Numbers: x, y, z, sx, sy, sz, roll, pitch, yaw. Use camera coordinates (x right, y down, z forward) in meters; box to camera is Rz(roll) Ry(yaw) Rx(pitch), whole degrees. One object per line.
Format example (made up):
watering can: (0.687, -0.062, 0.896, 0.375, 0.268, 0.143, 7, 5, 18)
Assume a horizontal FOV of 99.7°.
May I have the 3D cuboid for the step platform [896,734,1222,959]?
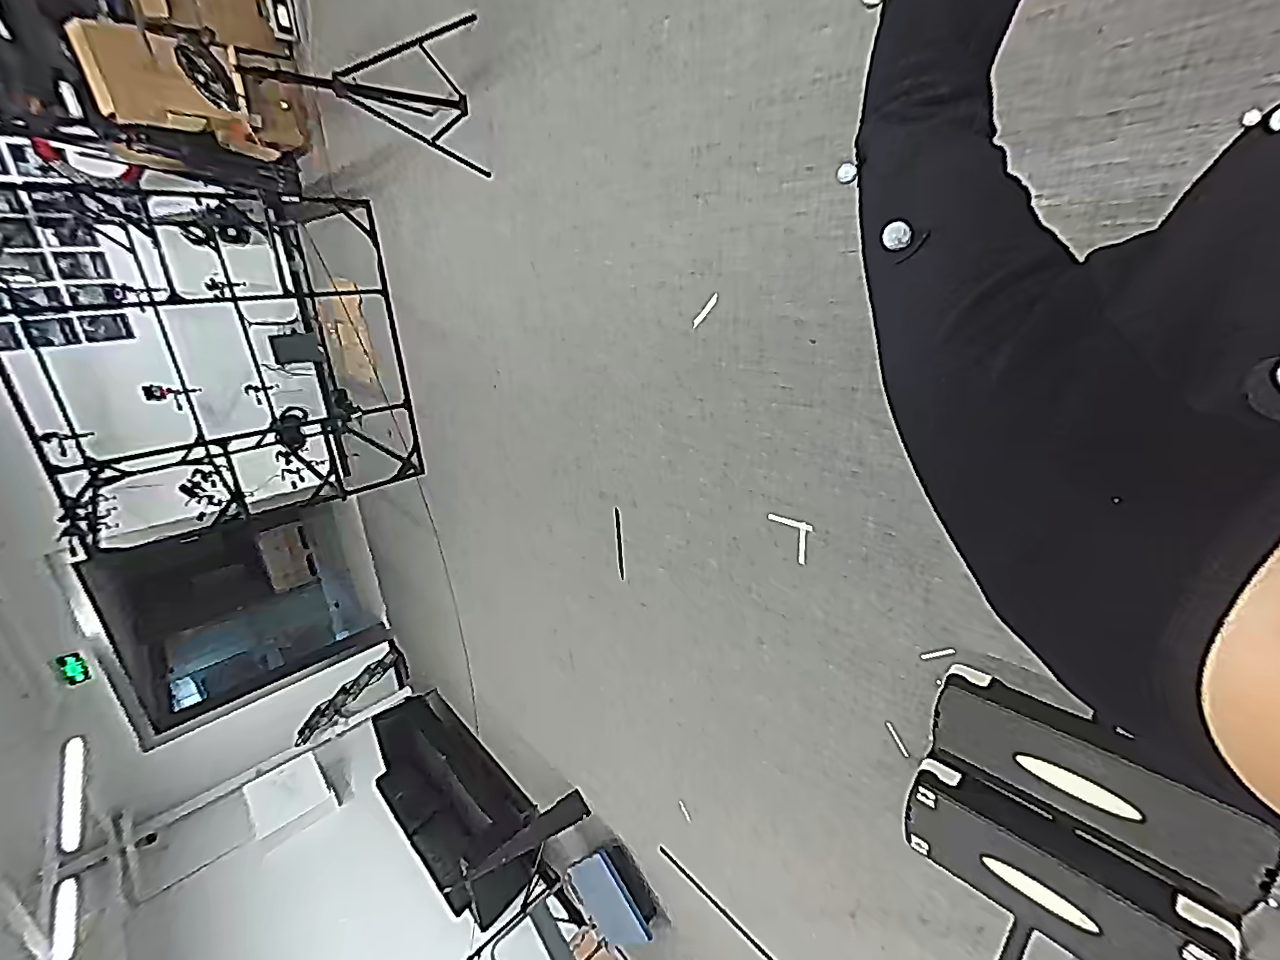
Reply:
step platform: (1.072, 1.014, 1.470, 0.684, 0.204, 0.286, 18, 119, 46)
